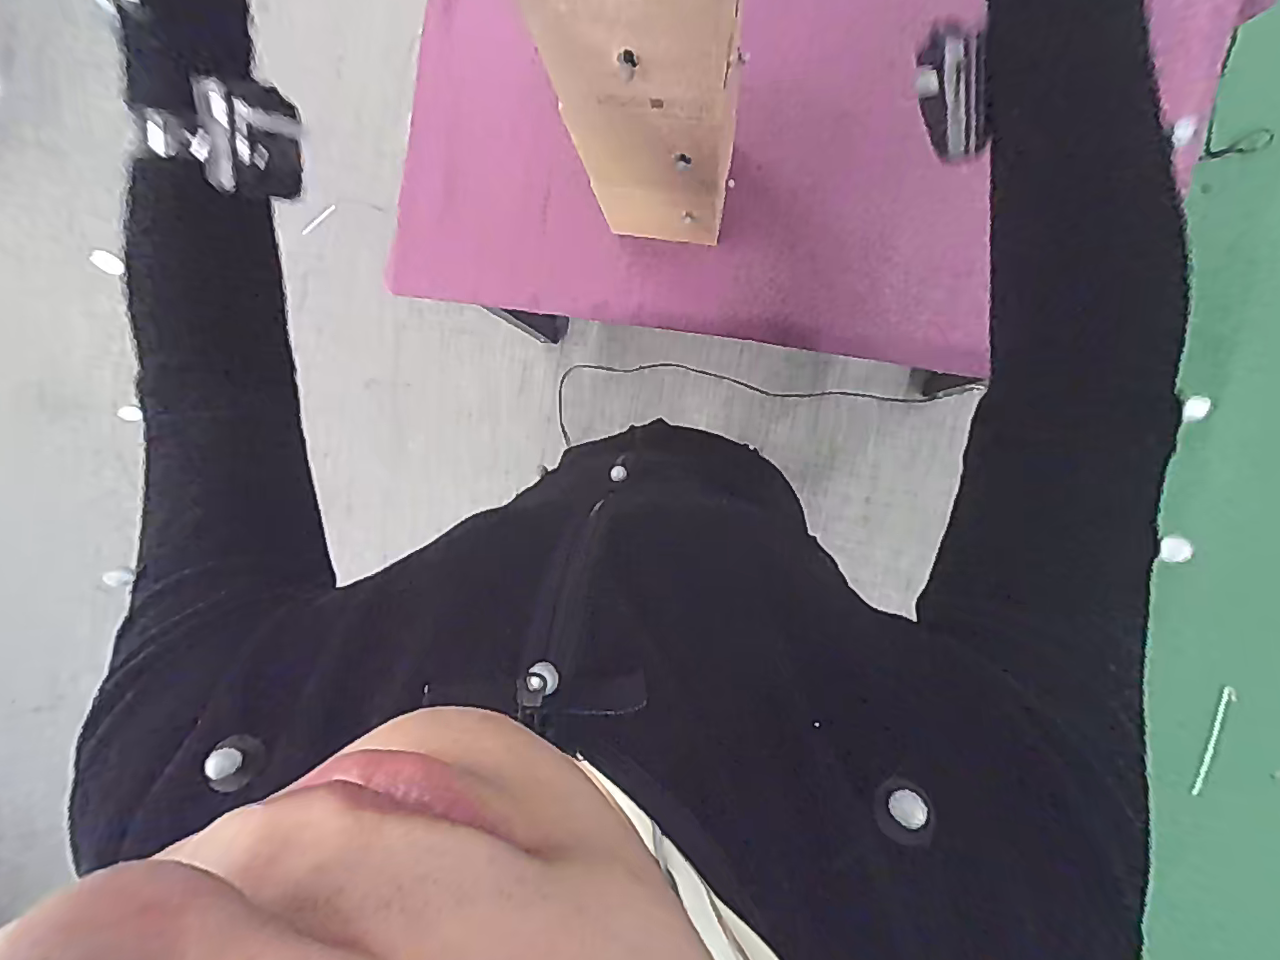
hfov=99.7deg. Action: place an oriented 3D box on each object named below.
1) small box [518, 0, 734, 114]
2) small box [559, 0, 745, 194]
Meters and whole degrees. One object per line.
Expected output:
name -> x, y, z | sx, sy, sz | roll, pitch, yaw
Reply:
small box -> 0.001, -0.462, 0.477 | 0.168, 0.176, 0.179 | 9, 94, 7
small box -> 0.022, -0.463, 0.638 | 0.179, 0.176, 0.168 | 10, 94, 8
